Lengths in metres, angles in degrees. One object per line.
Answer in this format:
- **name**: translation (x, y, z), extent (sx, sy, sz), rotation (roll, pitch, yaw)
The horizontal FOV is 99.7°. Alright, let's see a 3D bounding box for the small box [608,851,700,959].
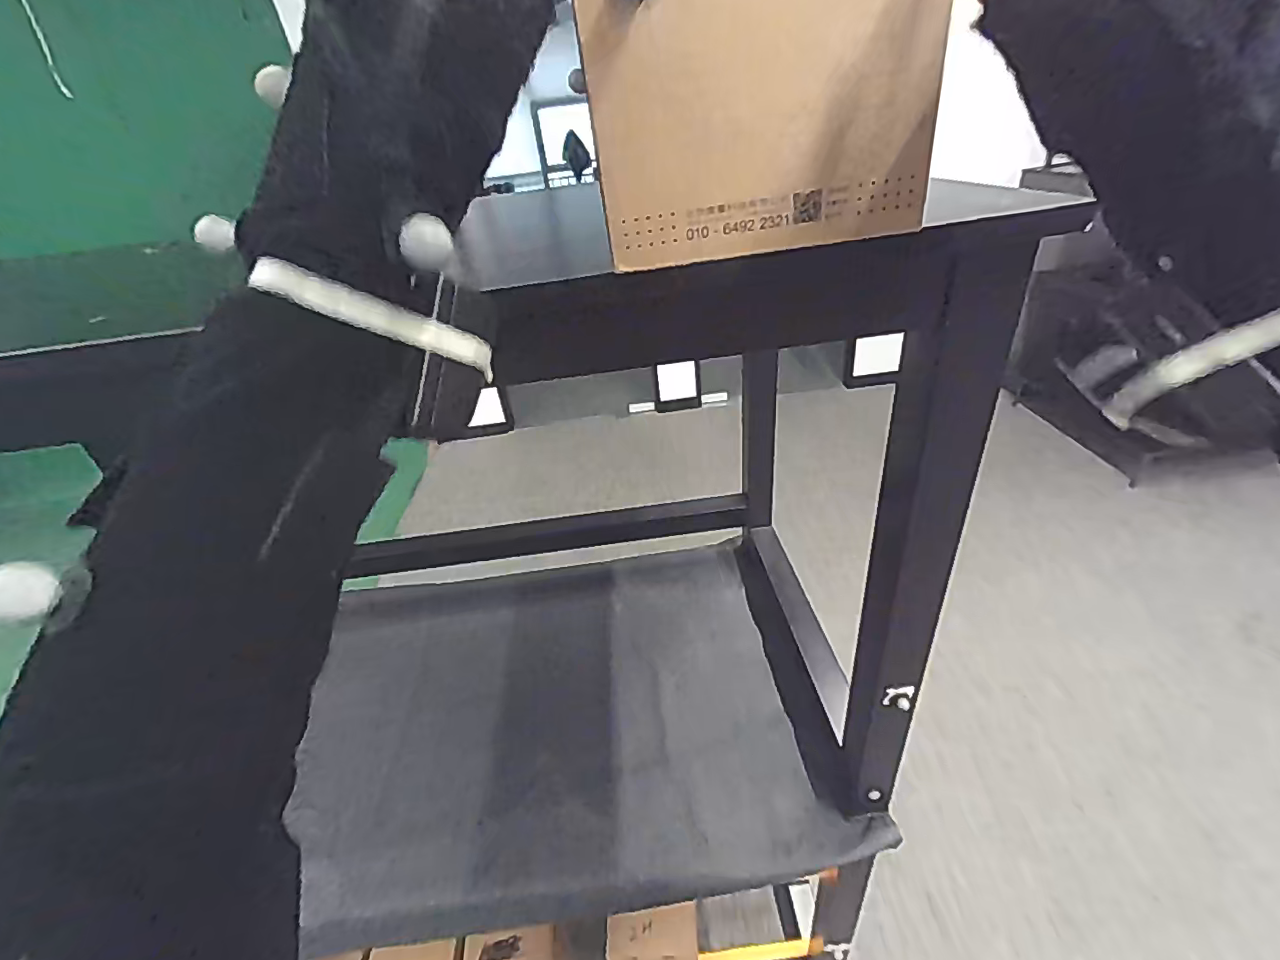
- **small box**: translation (0.033, 0.896, 1.109), extent (0.168, 0.176, 0.179), rotation (-6, 35, 5)
